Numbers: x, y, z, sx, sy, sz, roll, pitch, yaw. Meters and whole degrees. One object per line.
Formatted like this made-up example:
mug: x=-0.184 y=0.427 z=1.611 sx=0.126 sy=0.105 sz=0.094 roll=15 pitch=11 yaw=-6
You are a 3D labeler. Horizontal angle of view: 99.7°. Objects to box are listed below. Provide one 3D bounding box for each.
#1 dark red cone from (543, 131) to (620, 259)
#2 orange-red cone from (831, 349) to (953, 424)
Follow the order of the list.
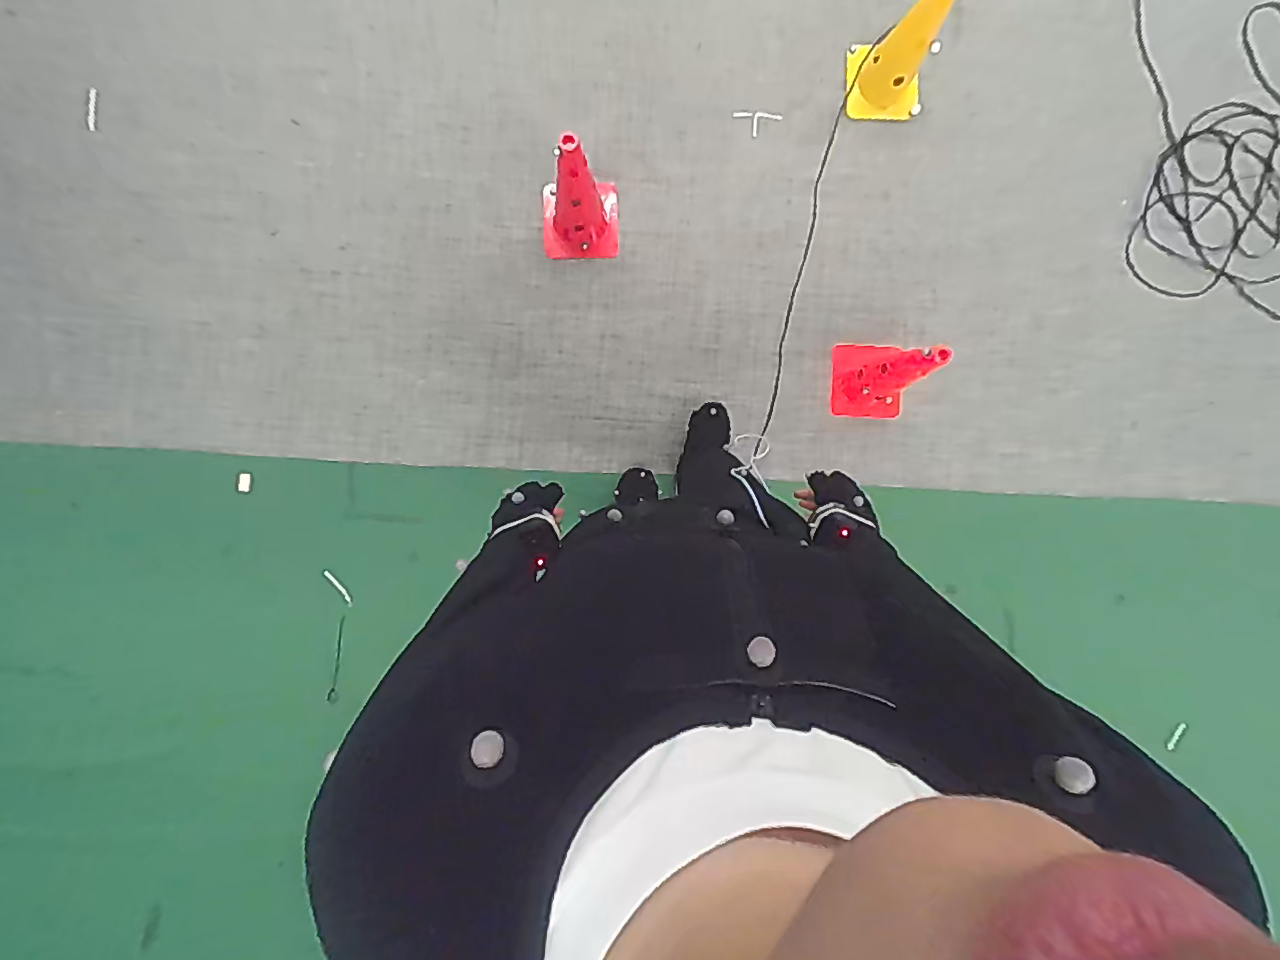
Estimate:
dark red cone: x=-0.148 y=-0.682 z=1.266 sx=0.202 sy=0.394 sz=0.201 roll=-3 pitch=92 yaw=-2
orange-red cone: x=0.637 y=-0.259 z=1.322 sx=0.198 sy=0.360 sz=0.199 roll=3 pitch=89 yaw=-3
